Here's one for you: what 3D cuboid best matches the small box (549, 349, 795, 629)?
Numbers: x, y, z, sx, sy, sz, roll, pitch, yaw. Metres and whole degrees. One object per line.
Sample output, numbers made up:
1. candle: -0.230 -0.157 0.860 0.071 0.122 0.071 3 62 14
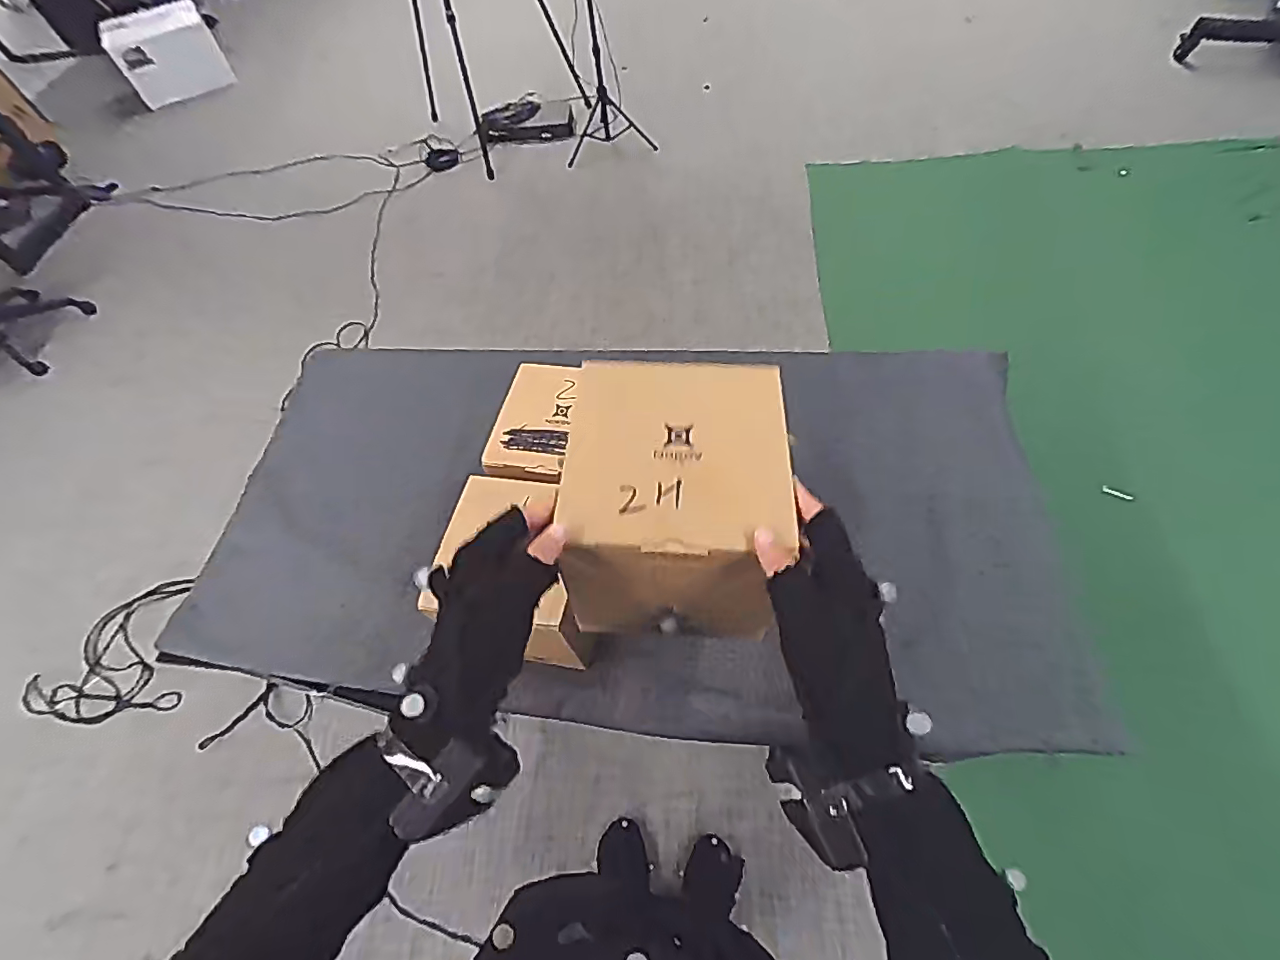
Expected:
1. small box: 0.028 0.011 0.466 0.168 0.176 0.179 2 56 4
